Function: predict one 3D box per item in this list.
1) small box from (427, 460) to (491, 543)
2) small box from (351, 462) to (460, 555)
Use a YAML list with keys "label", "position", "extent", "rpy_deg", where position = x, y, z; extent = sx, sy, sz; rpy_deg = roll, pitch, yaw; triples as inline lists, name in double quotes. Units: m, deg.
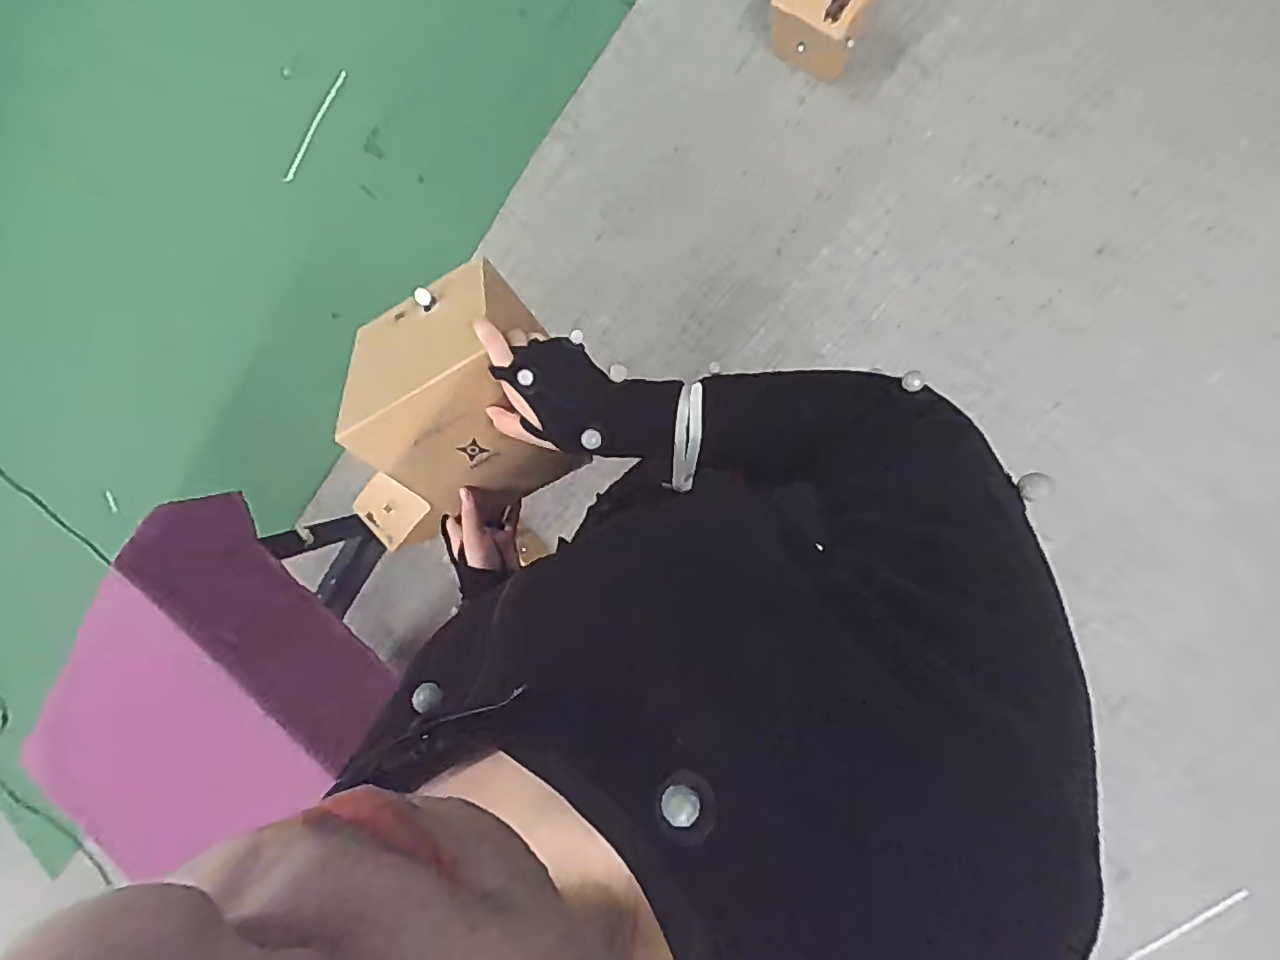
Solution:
- label: "small box"
  position: [-0.565, 0.055, 1.585]
  extent: [0.179, 0.176, 0.168]
  rpy_deg: [-40, 85, 16]
- label: "small box"
  position: [-0.604, 0.066, 1.425]
  extent: [0.179, 0.176, 0.168]
  rpy_deg: [-44, 84, 14]
